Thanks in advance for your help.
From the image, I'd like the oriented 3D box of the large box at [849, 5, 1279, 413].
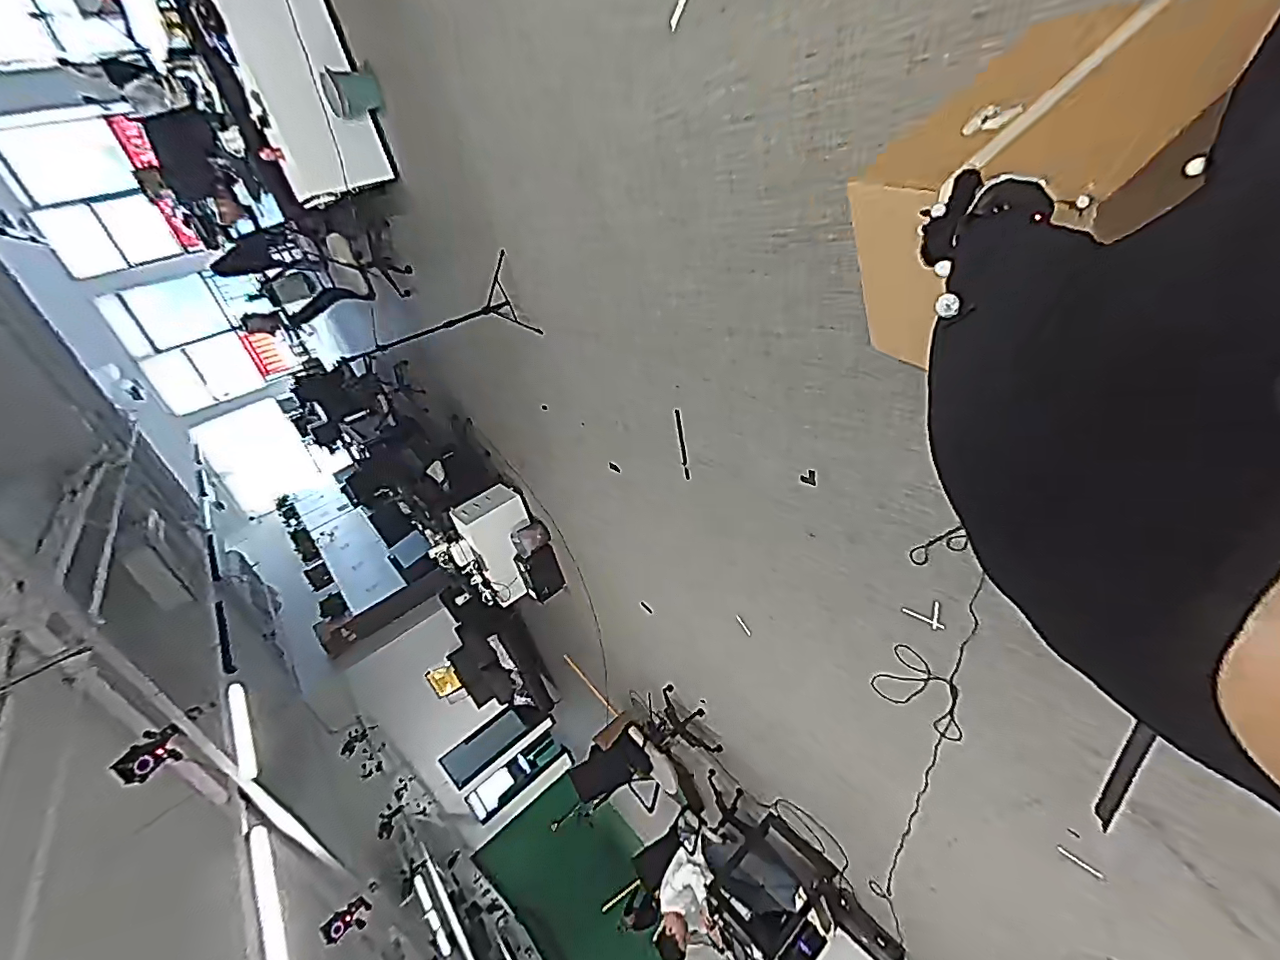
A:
[{"bbox_3d":[0.581,-0.376,0.779,0.320,0.408,0.320,44,172,47],"label":"large box"}]
